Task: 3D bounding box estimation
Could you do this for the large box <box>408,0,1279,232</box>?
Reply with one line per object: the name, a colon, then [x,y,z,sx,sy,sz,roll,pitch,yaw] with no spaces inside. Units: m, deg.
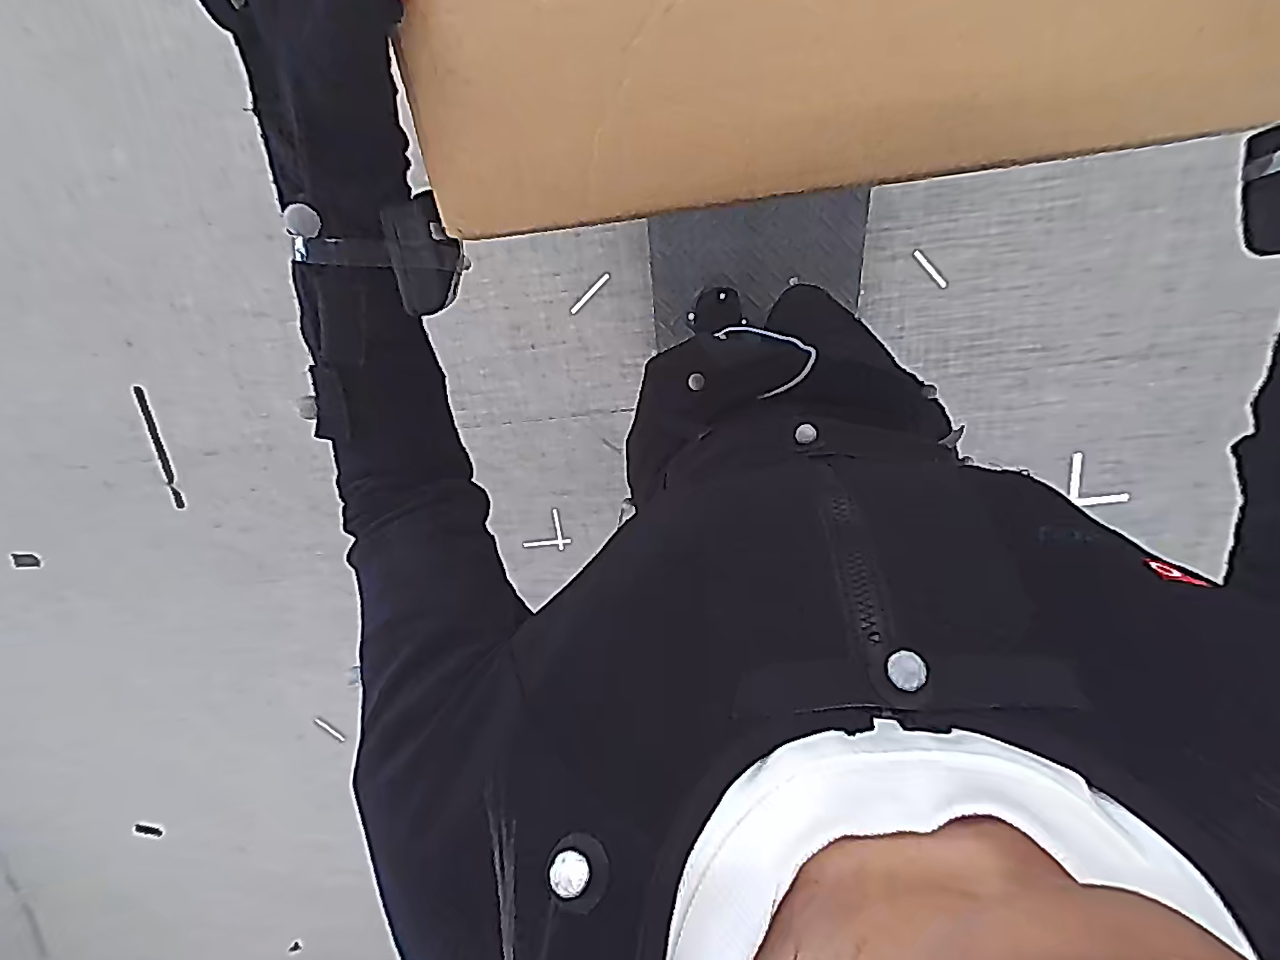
large box: [0.086,-0.359,0.342,0.408,0.320,0.320,-5,117,7]
